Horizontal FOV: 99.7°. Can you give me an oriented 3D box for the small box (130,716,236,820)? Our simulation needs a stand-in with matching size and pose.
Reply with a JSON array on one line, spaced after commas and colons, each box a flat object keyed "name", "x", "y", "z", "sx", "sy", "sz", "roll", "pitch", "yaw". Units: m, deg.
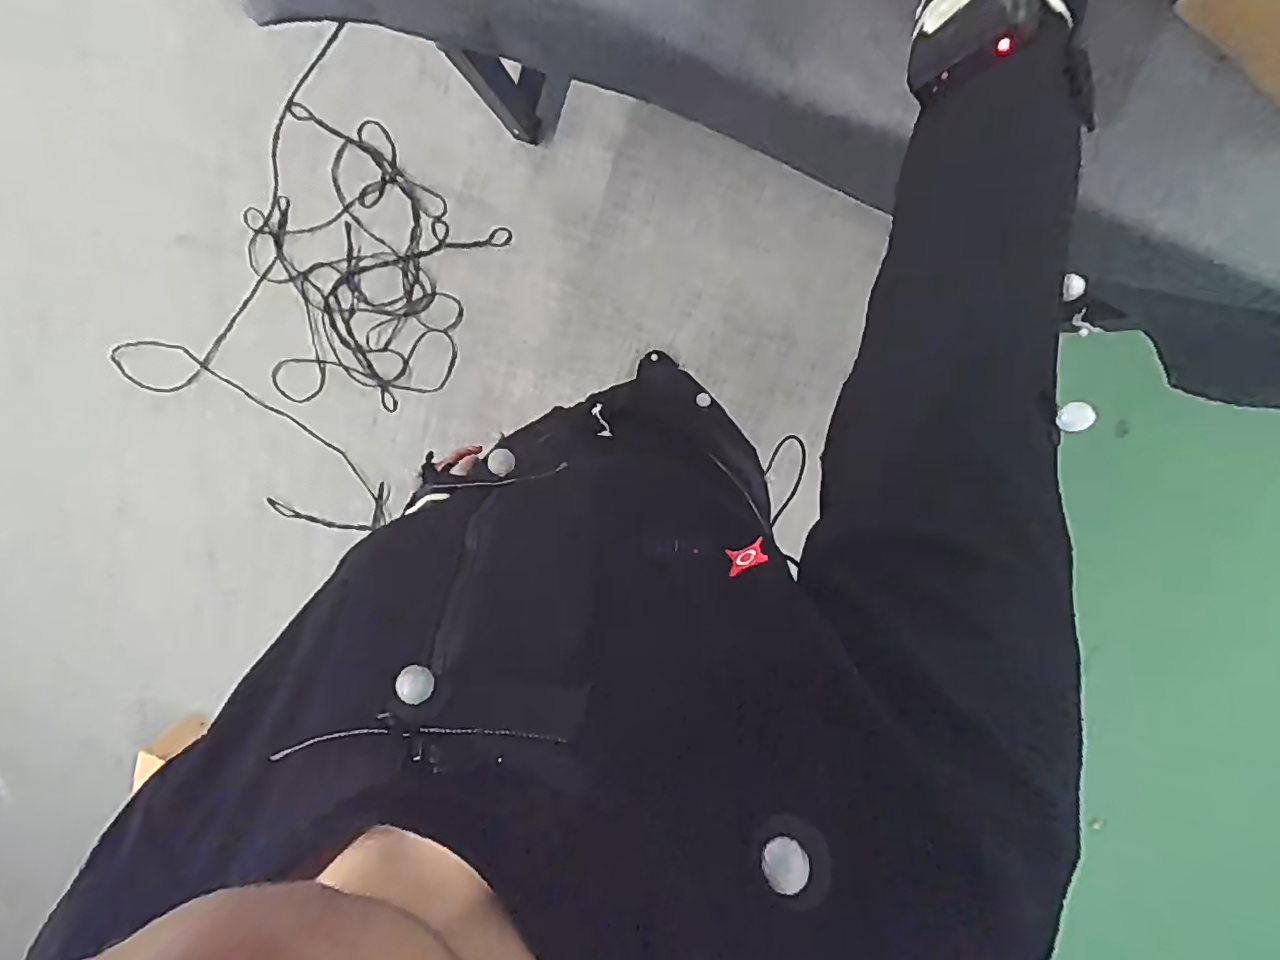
[{"name": "small box", "x": -1.339, "y": 0.842, "z": 1.592, "sx": 0.168, "sy": 0.176, "sz": 0.179, "roll": 20, "pitch": 104, "yaw": 0}]
